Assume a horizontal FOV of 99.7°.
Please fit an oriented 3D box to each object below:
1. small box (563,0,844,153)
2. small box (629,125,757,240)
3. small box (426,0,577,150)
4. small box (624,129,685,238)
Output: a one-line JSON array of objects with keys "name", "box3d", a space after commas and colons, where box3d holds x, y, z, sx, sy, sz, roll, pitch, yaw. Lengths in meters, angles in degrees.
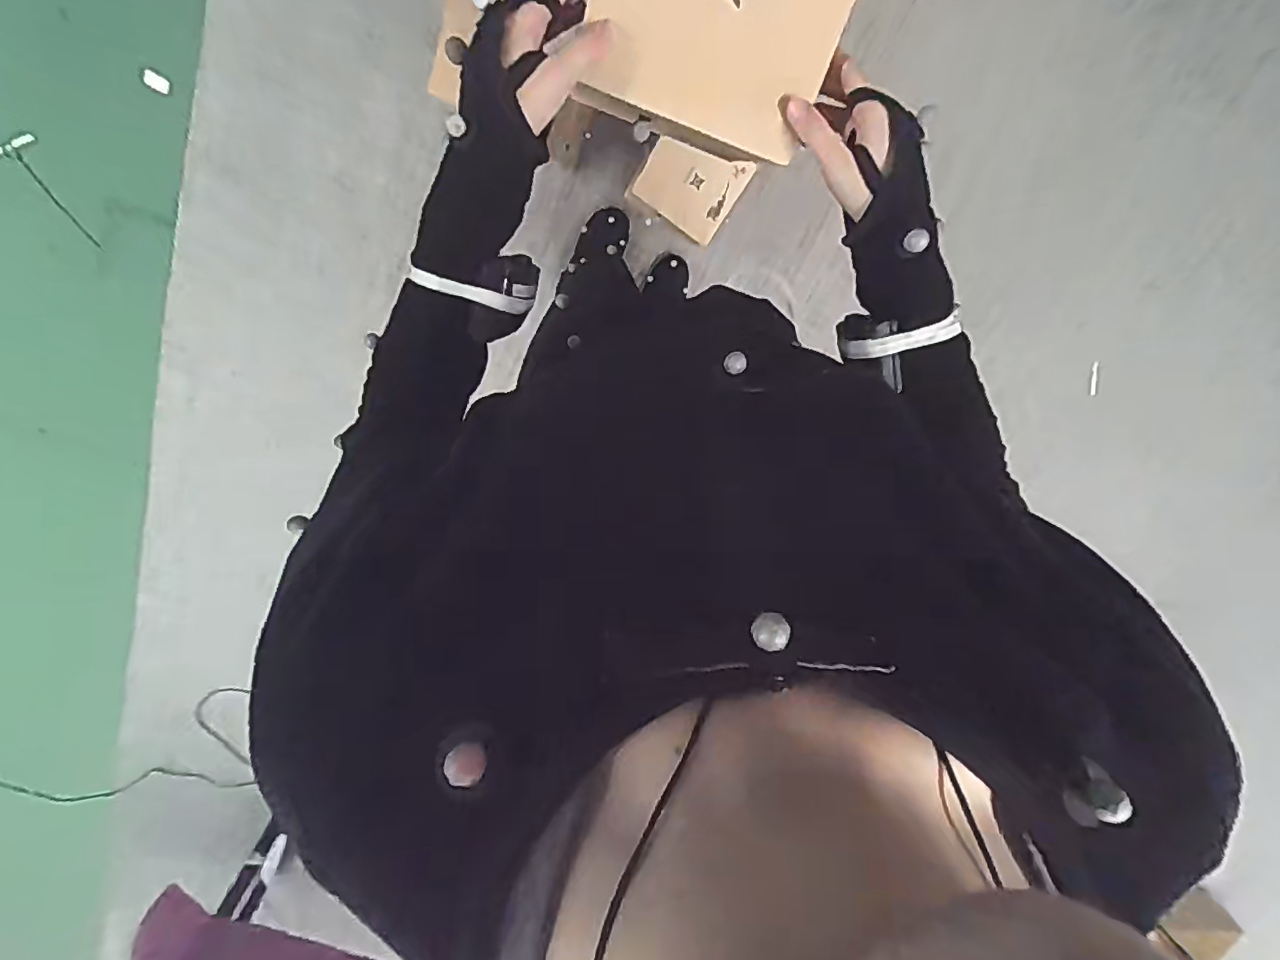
[{"name": "small box", "box3d": [0.047, -0.365, 0.399, 0.168, 0.176, 0.179, 13, 118, -14]}, {"name": "small box", "box3d": [0.093, -0.585, 1.047, 0.179, 0.176, 0.168, 33, 109, -14]}, {"name": "small box", "box3d": [-0.197, -0.636, 0.833, 0.179, 0.176, 0.168, 22, 111, -10]}, {"name": "small box", "box3d": [0.076, -0.662, 1.192, 0.168, 0.176, 0.179, 32, 110, -14]}]
